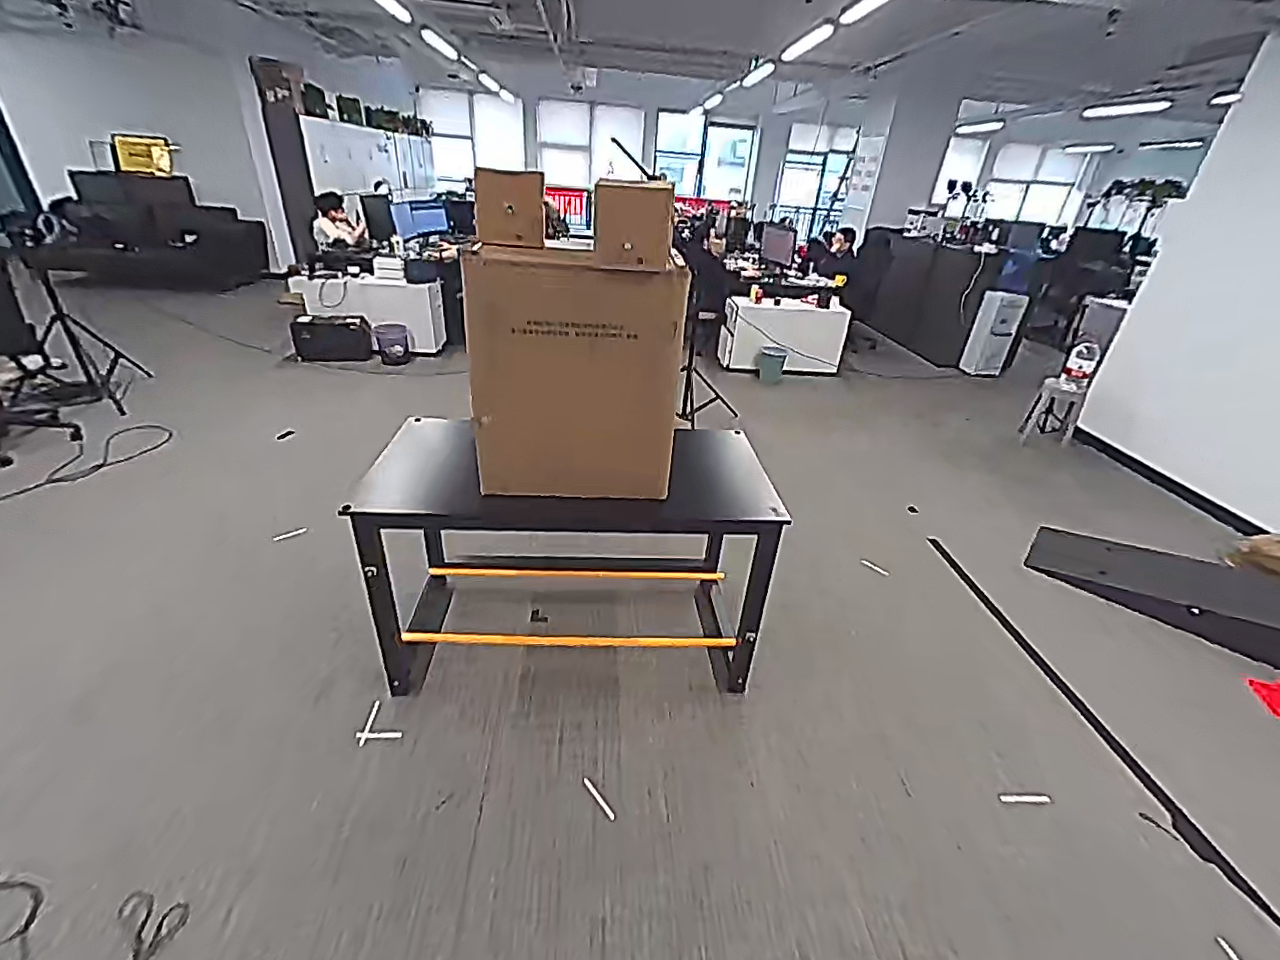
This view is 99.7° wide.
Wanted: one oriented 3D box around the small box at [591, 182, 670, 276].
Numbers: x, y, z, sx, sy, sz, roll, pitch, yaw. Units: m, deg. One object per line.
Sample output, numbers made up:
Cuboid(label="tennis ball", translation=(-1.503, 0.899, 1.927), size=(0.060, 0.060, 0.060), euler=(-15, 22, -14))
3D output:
Cuboid(label="small box", translation=(-0.020, -0.569, 1.221), size=(0.168, 0.176, 0.179), euler=(2, 33, 1))

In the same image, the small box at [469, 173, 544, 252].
Cuboid(label="small box", translation=(-0.332, -0.682, 1.379), size=(0.168, 0.176, 0.179), euler=(0, 29, -8))
